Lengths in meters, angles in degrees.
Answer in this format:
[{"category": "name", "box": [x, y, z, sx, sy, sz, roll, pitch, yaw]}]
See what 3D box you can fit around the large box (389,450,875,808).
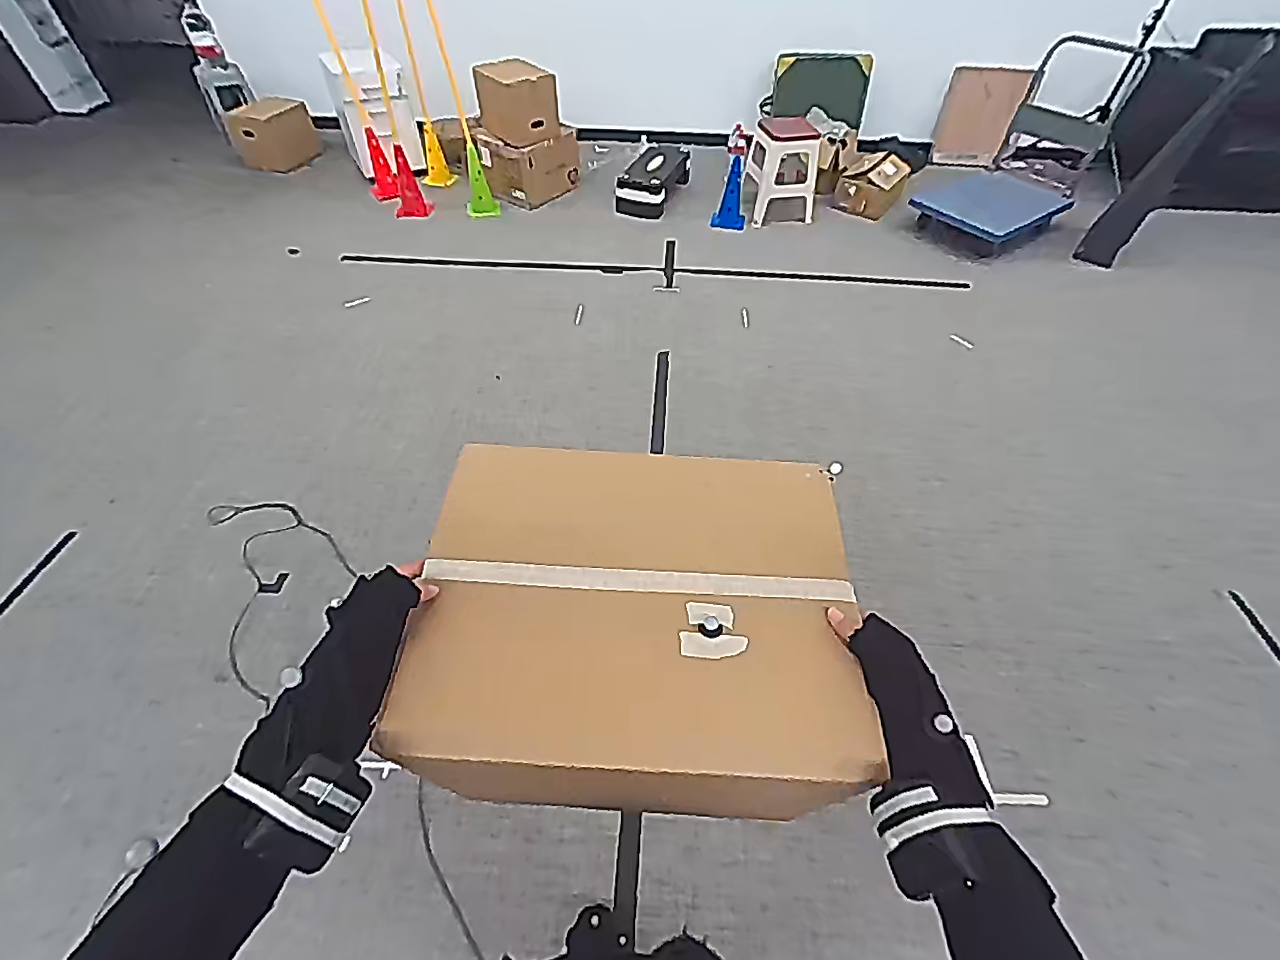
[{"category": "large box", "box": [-0.006, 0.186, 0.642, 0.408, 0.320, 0.320, 4, 54, 0]}]
